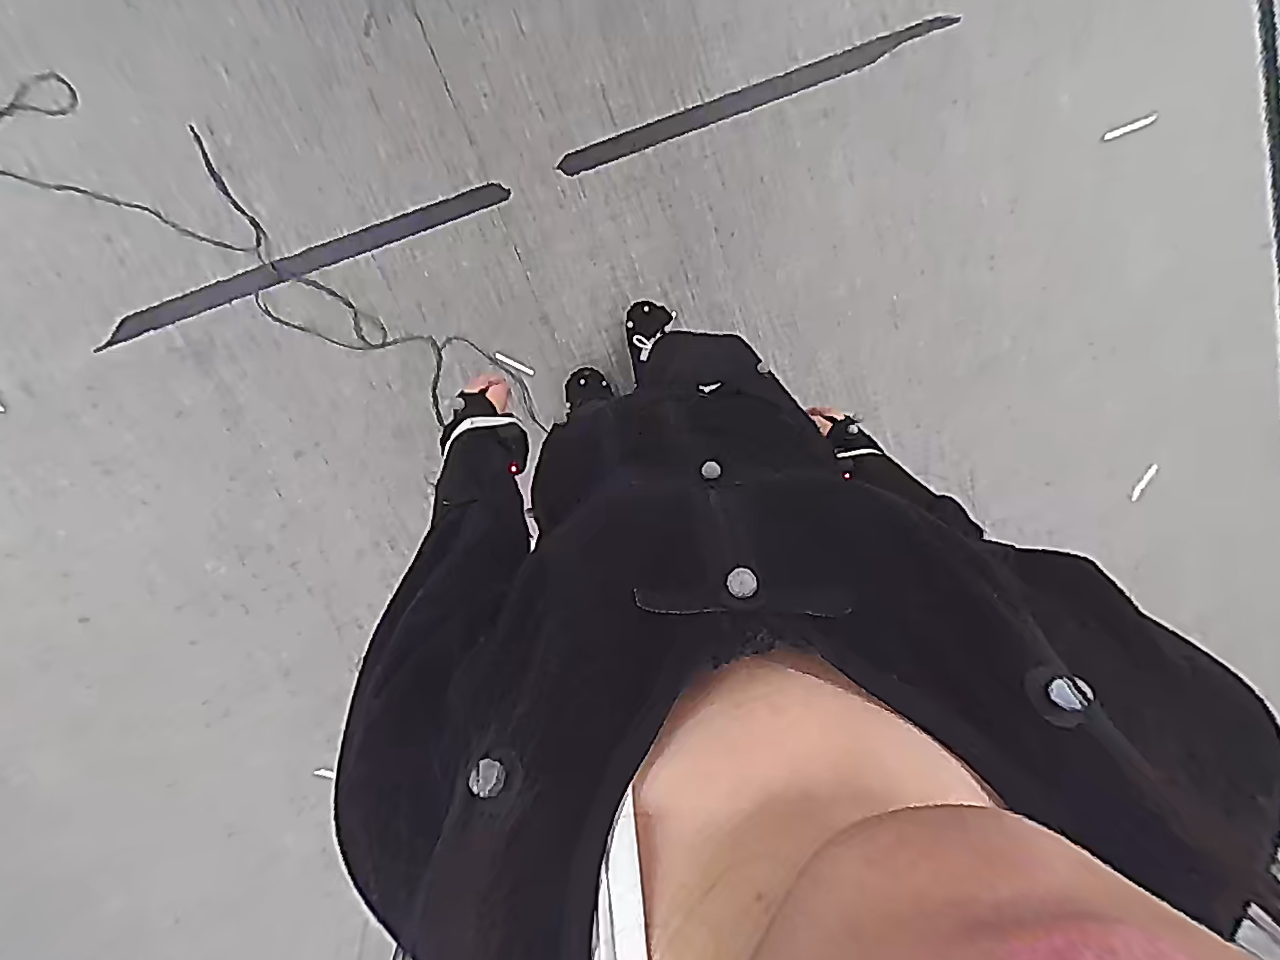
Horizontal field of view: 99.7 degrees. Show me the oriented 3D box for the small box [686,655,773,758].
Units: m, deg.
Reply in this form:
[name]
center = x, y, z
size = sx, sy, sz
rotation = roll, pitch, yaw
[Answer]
[small box]
center = 0.251, 0.642, 1.548
size = 0.168, 0.176, 0.179
rotation = -28, 105, -1
